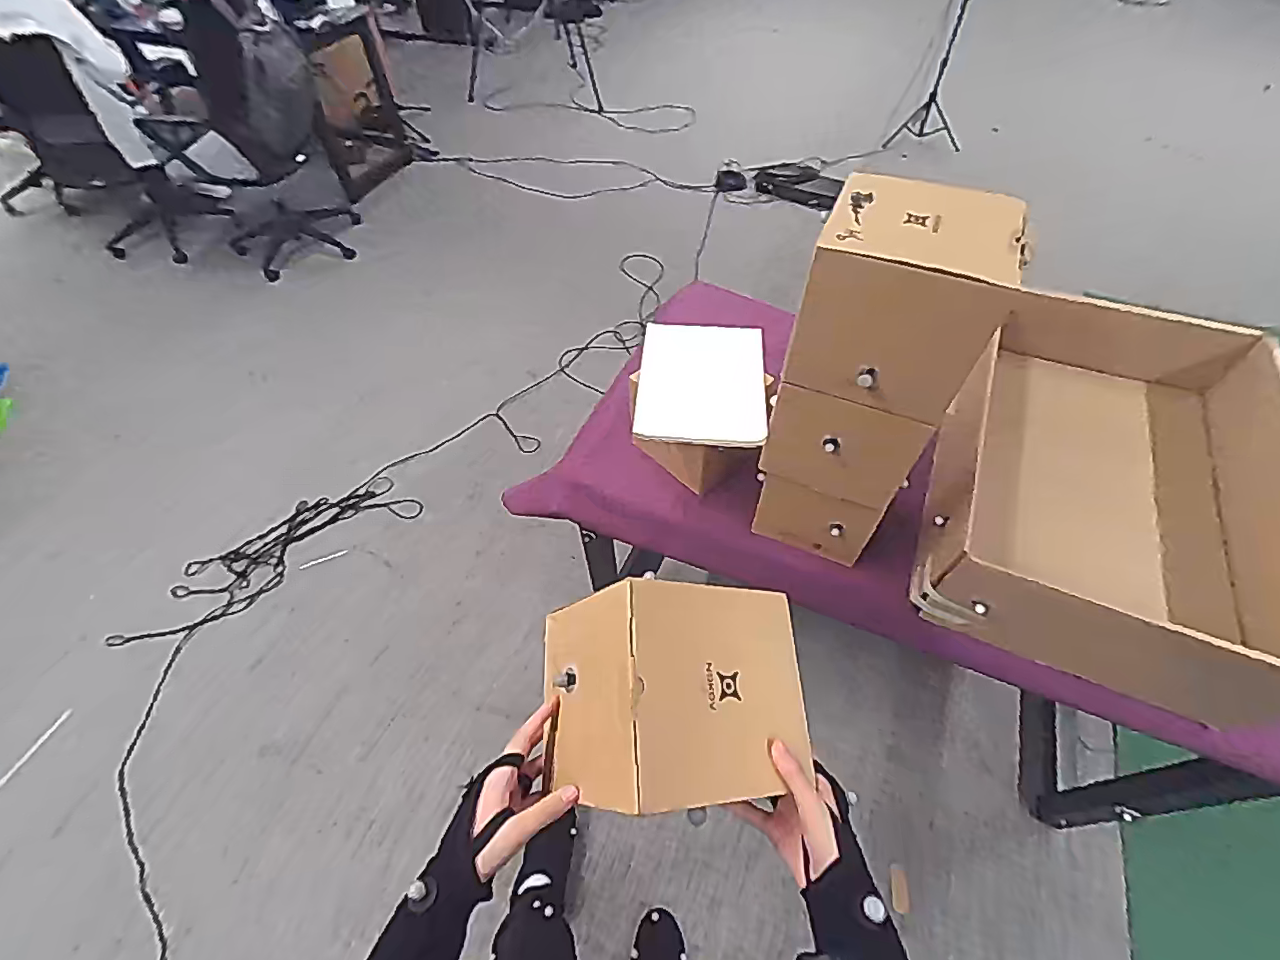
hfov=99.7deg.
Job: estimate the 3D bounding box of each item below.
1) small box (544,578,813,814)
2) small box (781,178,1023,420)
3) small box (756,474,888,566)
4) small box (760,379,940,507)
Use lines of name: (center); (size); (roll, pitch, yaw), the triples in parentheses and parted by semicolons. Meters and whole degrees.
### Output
small box: (0.027, 0.197, 0.501); (0.179, 0.176, 0.168); (12, 62, -29)
small box: (0.271, -0.189, 0.582); (0.179, 0.176, 0.168); (20, 54, 15)
small box: (0.289, 0.006, 0.845); (0.168, 0.176, 0.179); (20, 55, 16)
small box: (0.275, -0.088, 0.712); (0.179, 0.176, 0.168); (20, 55, 17)
